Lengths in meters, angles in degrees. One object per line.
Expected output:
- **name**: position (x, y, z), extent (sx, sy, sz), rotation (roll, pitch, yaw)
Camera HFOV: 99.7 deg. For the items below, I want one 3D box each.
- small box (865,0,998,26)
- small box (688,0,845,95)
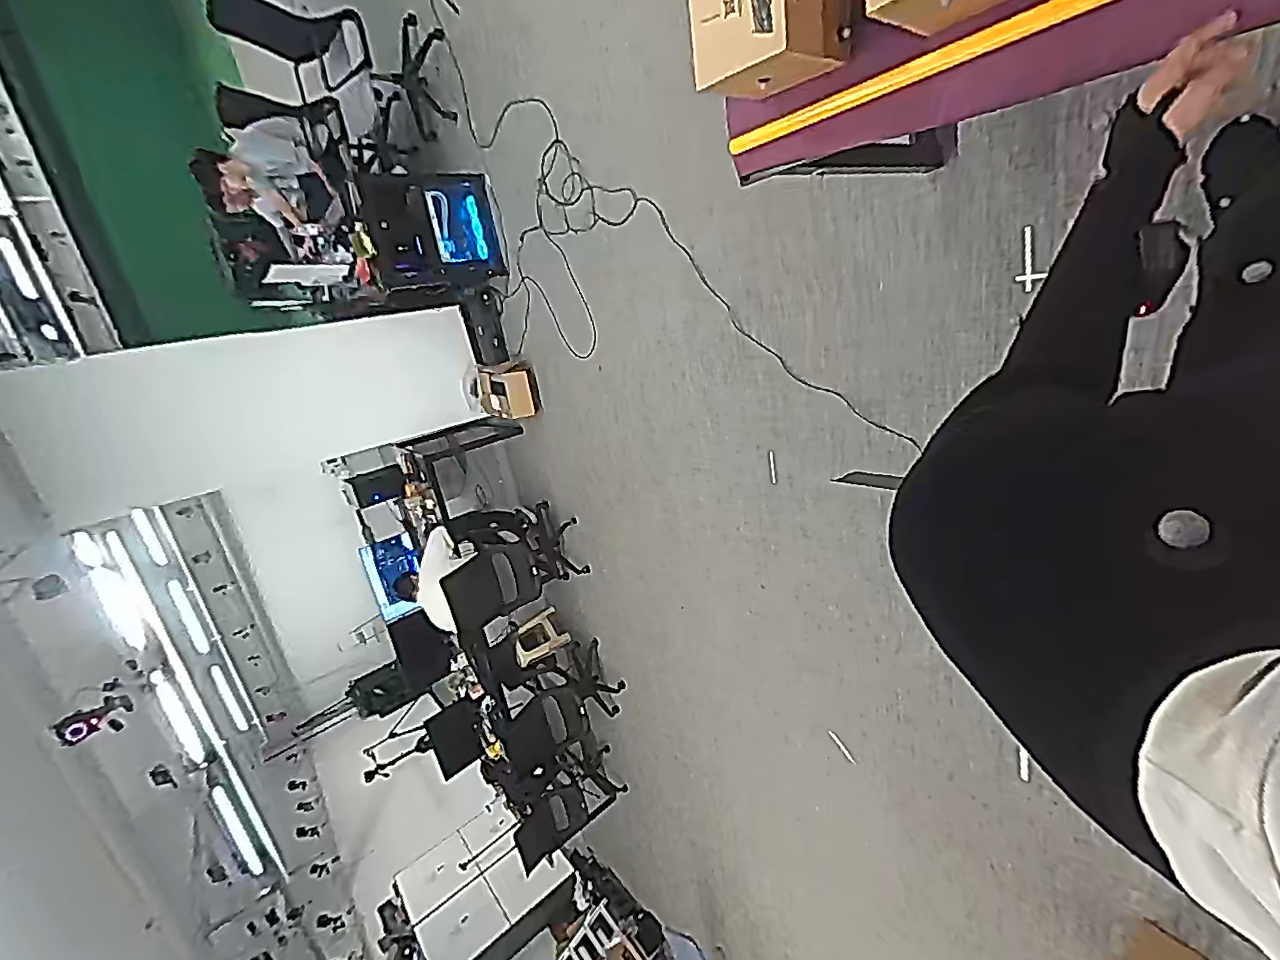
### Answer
- **small box**: position (0.376, -0.652, 0.607), extent (0.179, 0.176, 0.168), rotation (16, 121, 50)
- **small box**: position (0.195, -0.708, 0.817), extent (0.179, 0.176, 0.168), rotation (18, 123, 48)
